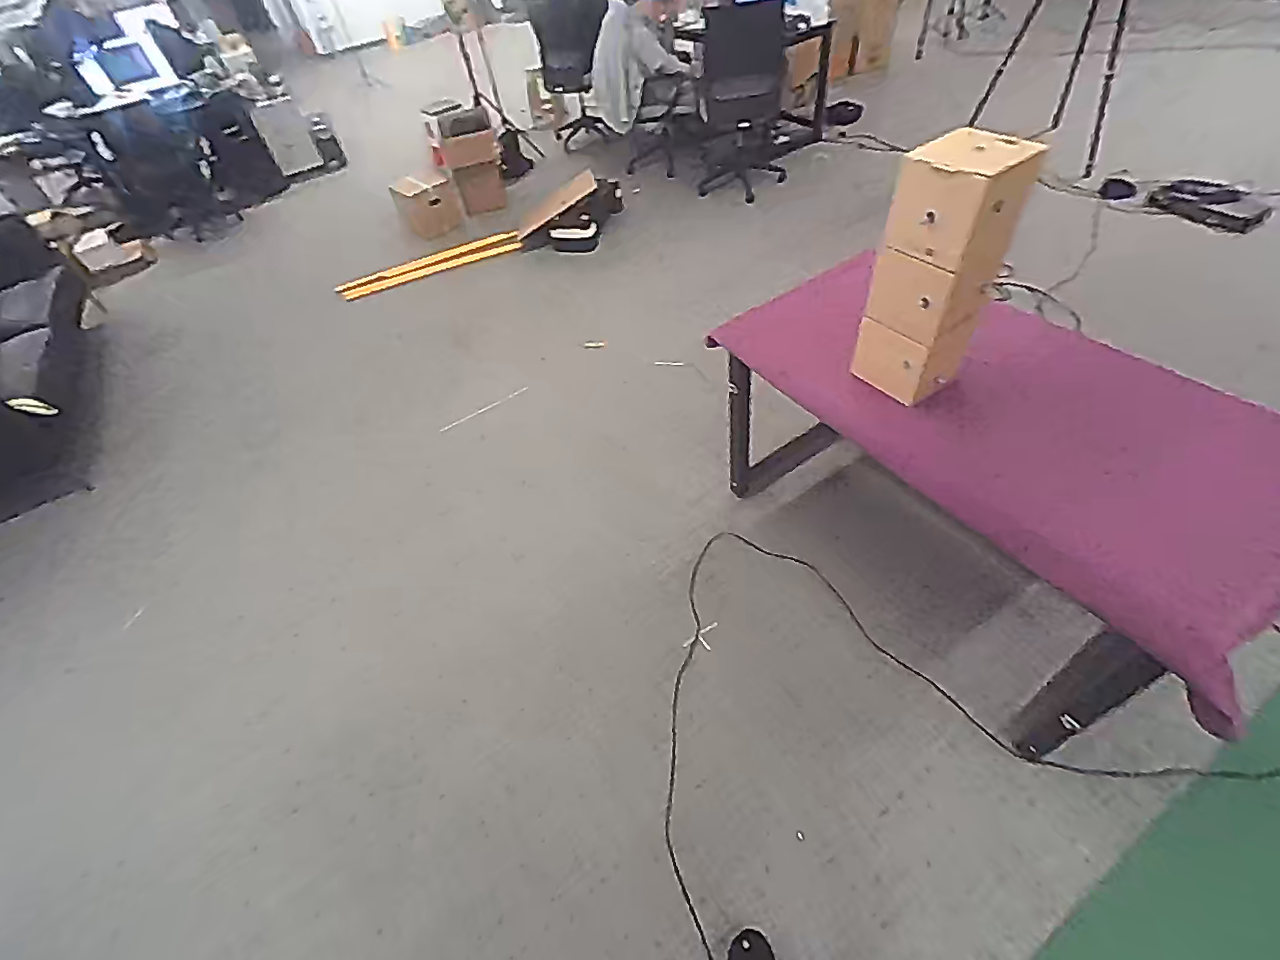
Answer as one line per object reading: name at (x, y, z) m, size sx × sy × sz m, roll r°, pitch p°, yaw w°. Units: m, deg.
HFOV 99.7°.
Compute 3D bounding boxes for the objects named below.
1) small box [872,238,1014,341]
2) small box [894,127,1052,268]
small box at (0.617, -0.413, 1.125) m, size 0.168 × 0.176 × 0.179 m, roll -30°, pitch 51°, yaw -16°
small box at (0.602, -0.521, 1.005) m, size 0.179 × 0.176 × 0.168 m, roll -31°, pitch 52°, yaw -17°
